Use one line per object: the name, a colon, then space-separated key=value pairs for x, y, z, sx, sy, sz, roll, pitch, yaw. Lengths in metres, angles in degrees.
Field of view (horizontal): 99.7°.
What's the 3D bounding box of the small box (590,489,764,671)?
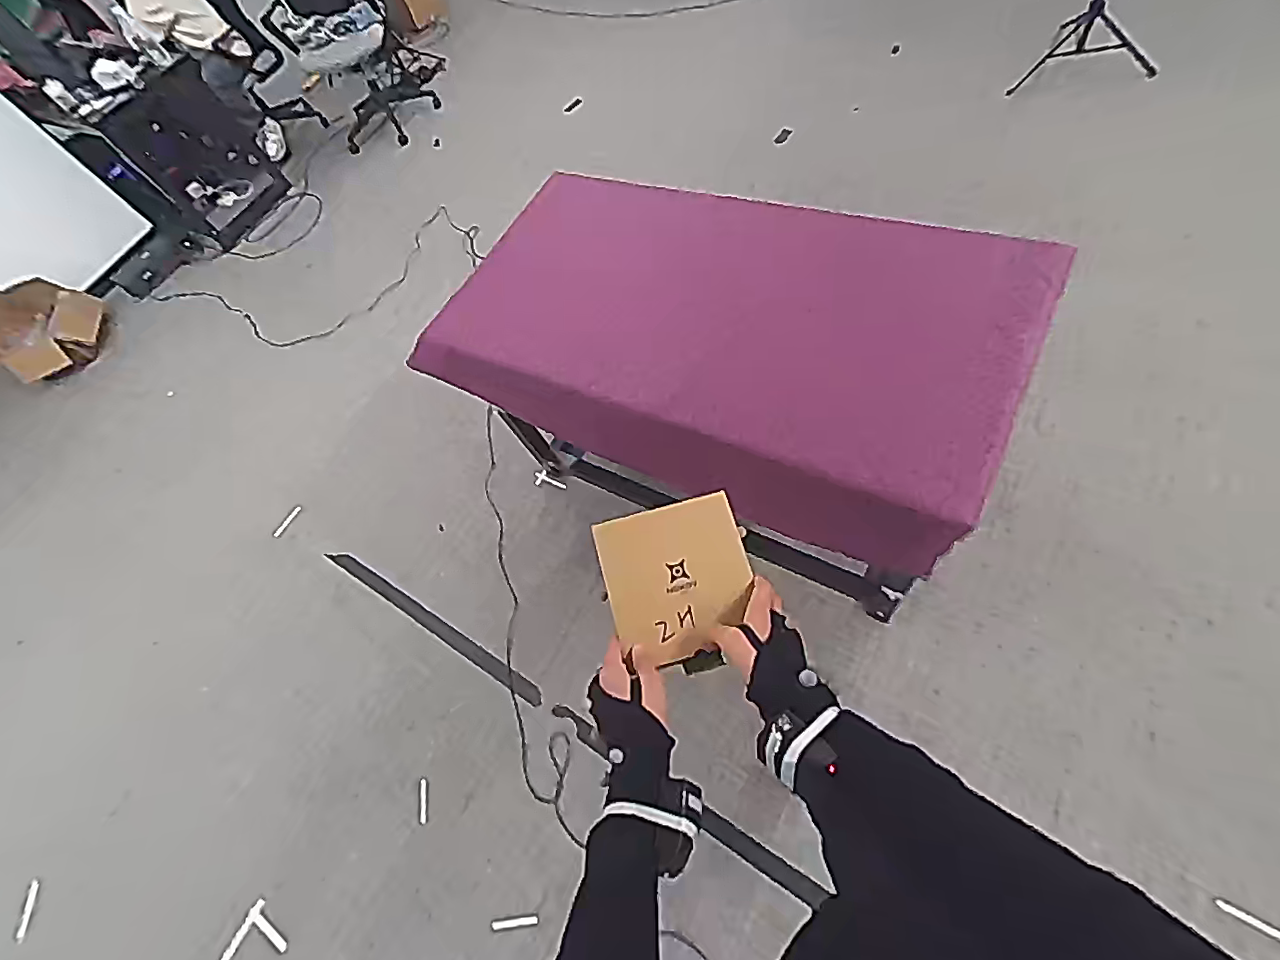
small box: x=0.040 y=0.135 z=0.689 sx=0.168 sy=0.176 sz=0.179 roll=-15 pitch=70 yaw=-3
